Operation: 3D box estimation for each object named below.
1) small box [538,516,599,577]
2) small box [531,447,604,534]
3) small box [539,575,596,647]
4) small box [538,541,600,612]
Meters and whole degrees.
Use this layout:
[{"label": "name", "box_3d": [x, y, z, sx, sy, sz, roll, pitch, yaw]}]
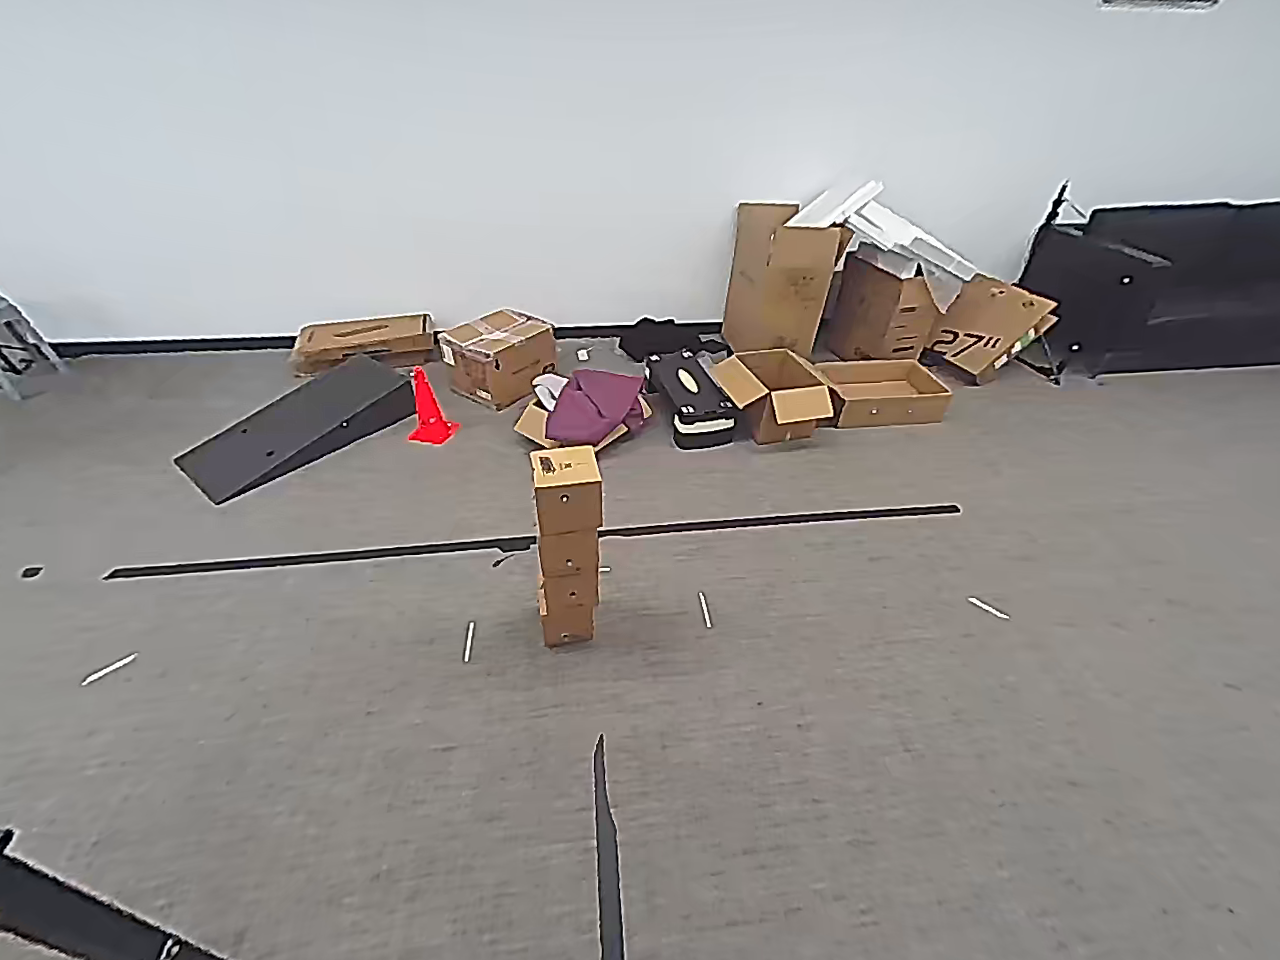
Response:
[{"label": "small box", "box_3d": [-0.211, 0.161, 1.594, 0.168, 0.176, 0.179, -6, 39, -7]}, {"label": "small box", "box_3d": [-0.200, 0.032, 1.493, 0.179, 0.176, 0.168, -7, 39, -11]}, {"label": "small box", "box_3d": [-0.241, 0.423, 1.793, 0.168, 0.176, 0.179, -8, 41, -10]}, {"label": "small box", "box_3d": [-0.221, 0.294, 1.693, 0.168, 0.176, 0.179, -9, 40, -11]}]
